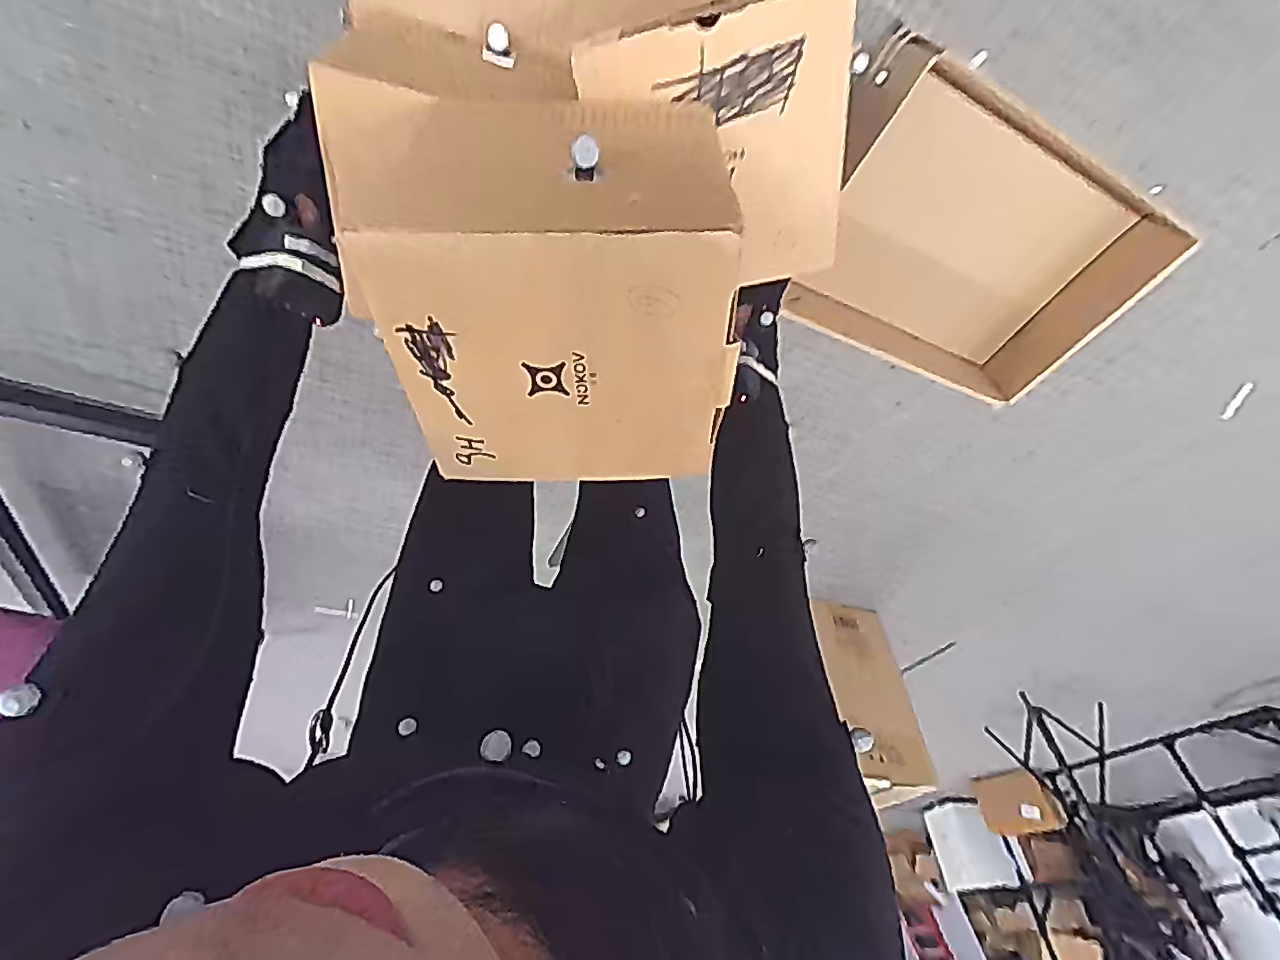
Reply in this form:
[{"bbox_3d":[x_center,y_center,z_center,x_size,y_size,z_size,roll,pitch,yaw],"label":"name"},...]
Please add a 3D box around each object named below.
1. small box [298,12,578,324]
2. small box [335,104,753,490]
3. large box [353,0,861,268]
[{"bbox_3d":[-0.141,-0.234,0.437,0.168,0.176,0.179,6,138,-13],"label":"small box"},{"bbox_3d":[-0.043,-0.111,0.332,0.179,0.176,0.168,-1,139,-1],"label":"small box"},{"bbox_3d":[-0.057,-0.417,0.600,0.408,0.320,0.320,9,139,-15],"label":"large box"}]
